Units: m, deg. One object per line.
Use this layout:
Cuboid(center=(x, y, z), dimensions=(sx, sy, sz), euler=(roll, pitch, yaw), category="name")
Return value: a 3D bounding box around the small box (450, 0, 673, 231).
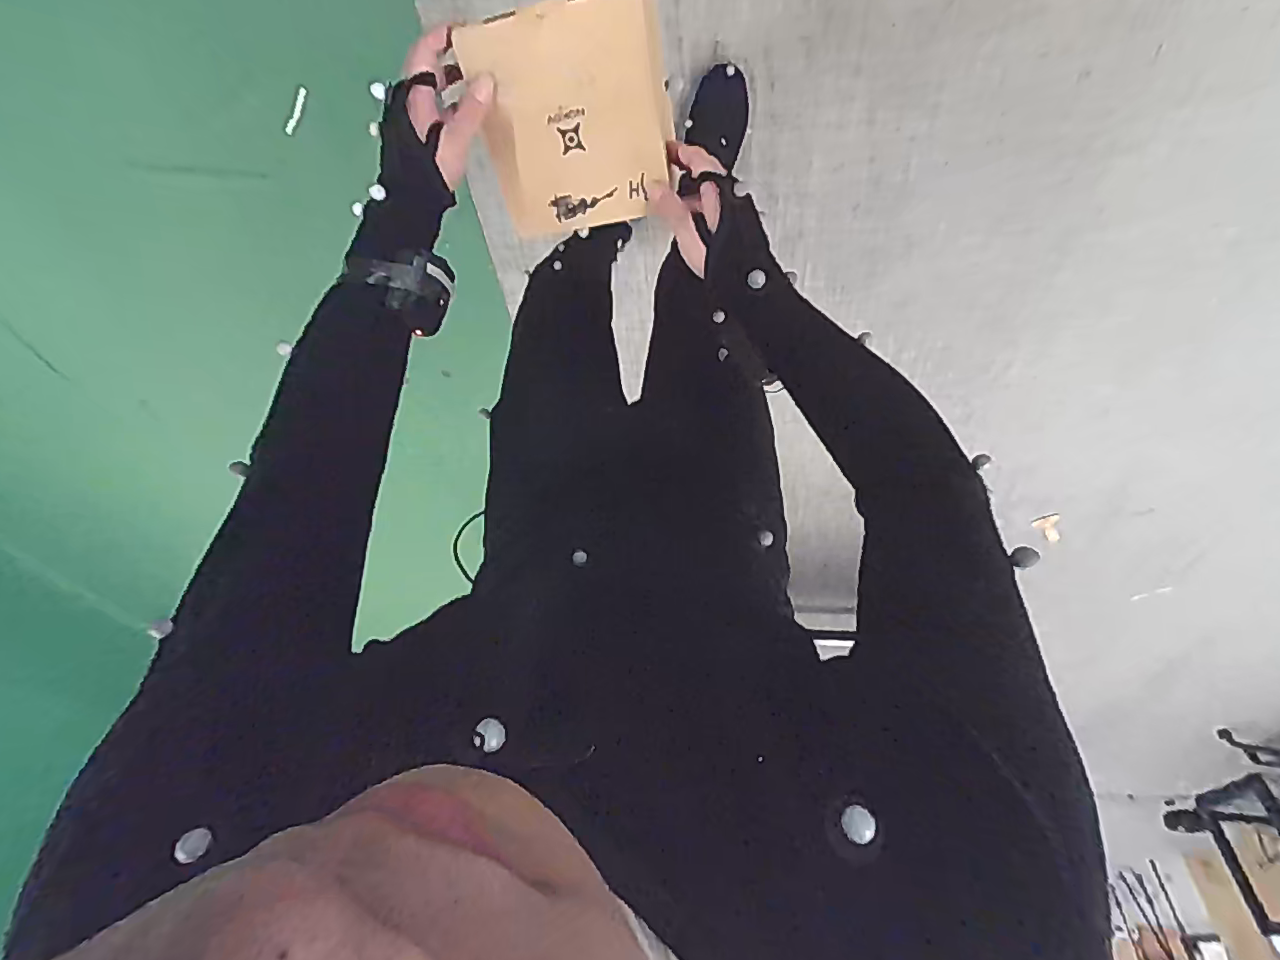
Cuboid(center=(-0.059, -0.376, 0.543), dimensions=(0.168, 0.176, 0.179), euler=(-4, 131, 10), category="small box")
